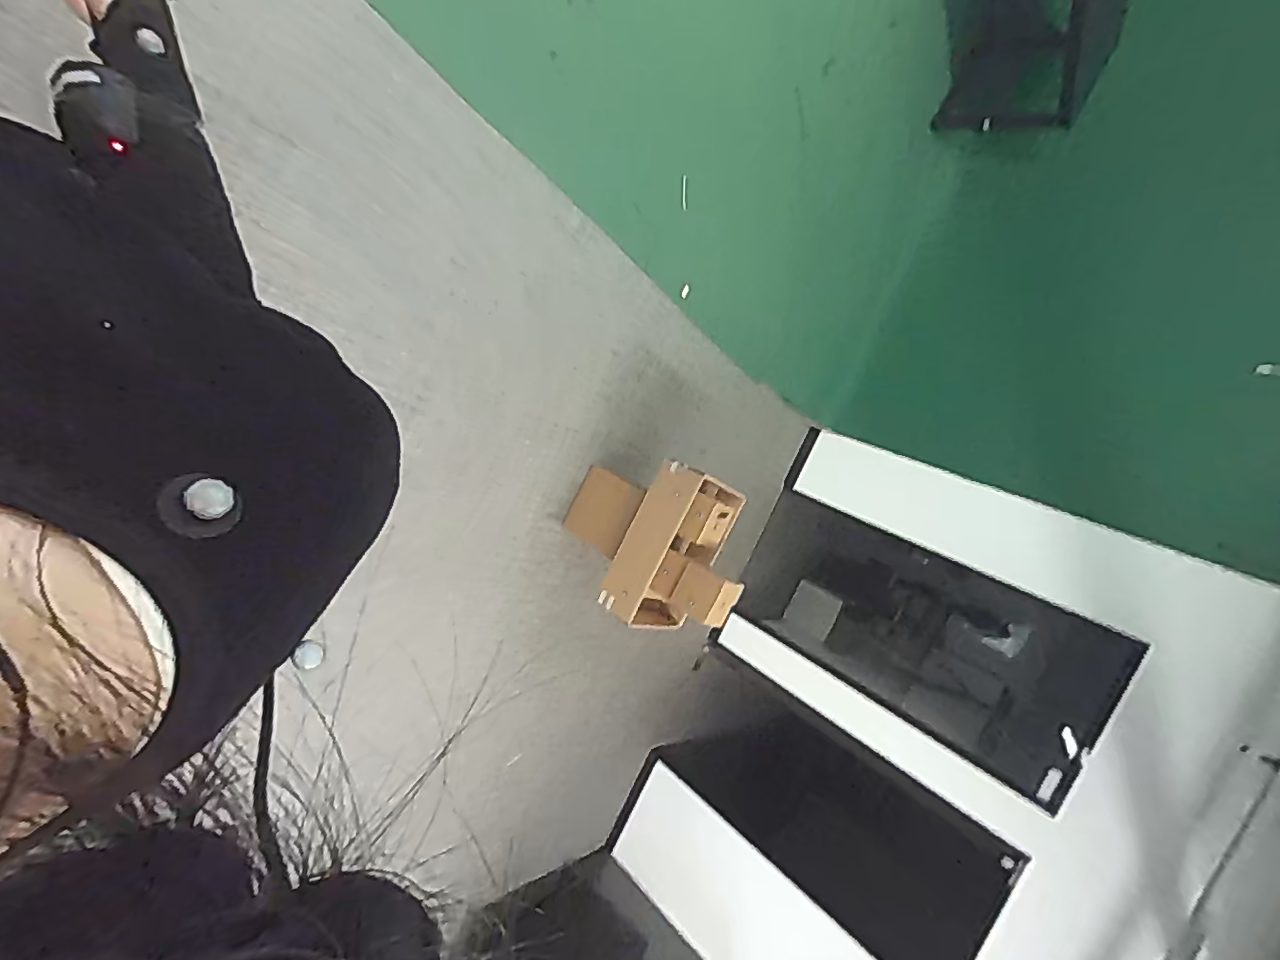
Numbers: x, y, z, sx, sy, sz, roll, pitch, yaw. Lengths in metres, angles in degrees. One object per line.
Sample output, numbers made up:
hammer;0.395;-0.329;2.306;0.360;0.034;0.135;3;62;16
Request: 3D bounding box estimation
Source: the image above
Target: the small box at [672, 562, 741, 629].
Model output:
small box;0.243;0.431;2.021;0.168;0.176;0.179;31;87;-54
